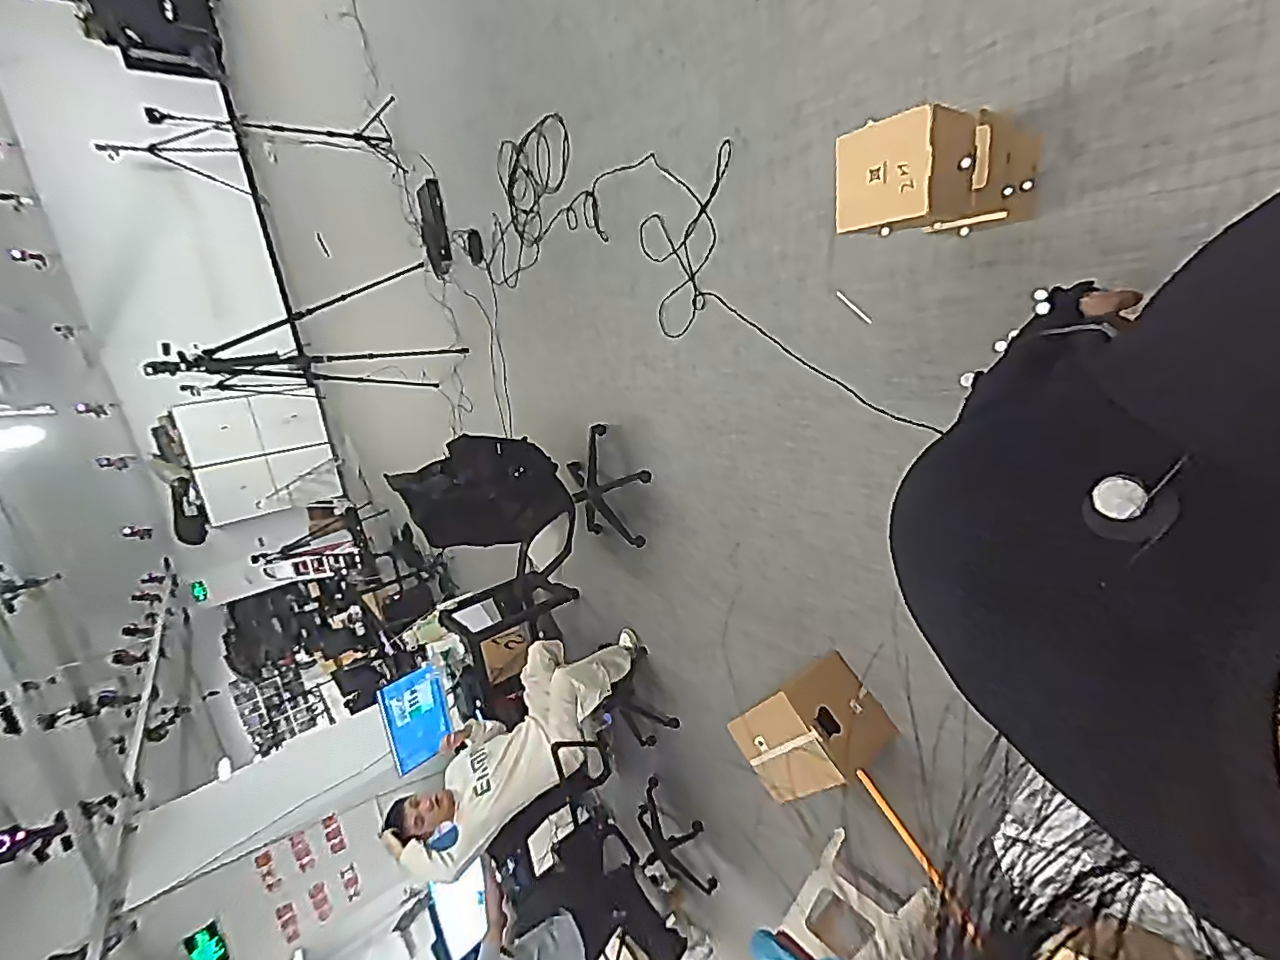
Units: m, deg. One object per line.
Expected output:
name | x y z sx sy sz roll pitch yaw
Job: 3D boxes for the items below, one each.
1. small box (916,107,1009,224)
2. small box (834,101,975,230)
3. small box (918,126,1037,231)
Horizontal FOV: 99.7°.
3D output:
small box | 0.611 -0.618 1.084 0.179 0.176 0.168 15 116 50
small box | 0.482 -0.563 0.996 0.179 0.176 0.168 14 117 50
small box | 0.738 -0.650 1.184 0.179 0.176 0.168 14 116 50
